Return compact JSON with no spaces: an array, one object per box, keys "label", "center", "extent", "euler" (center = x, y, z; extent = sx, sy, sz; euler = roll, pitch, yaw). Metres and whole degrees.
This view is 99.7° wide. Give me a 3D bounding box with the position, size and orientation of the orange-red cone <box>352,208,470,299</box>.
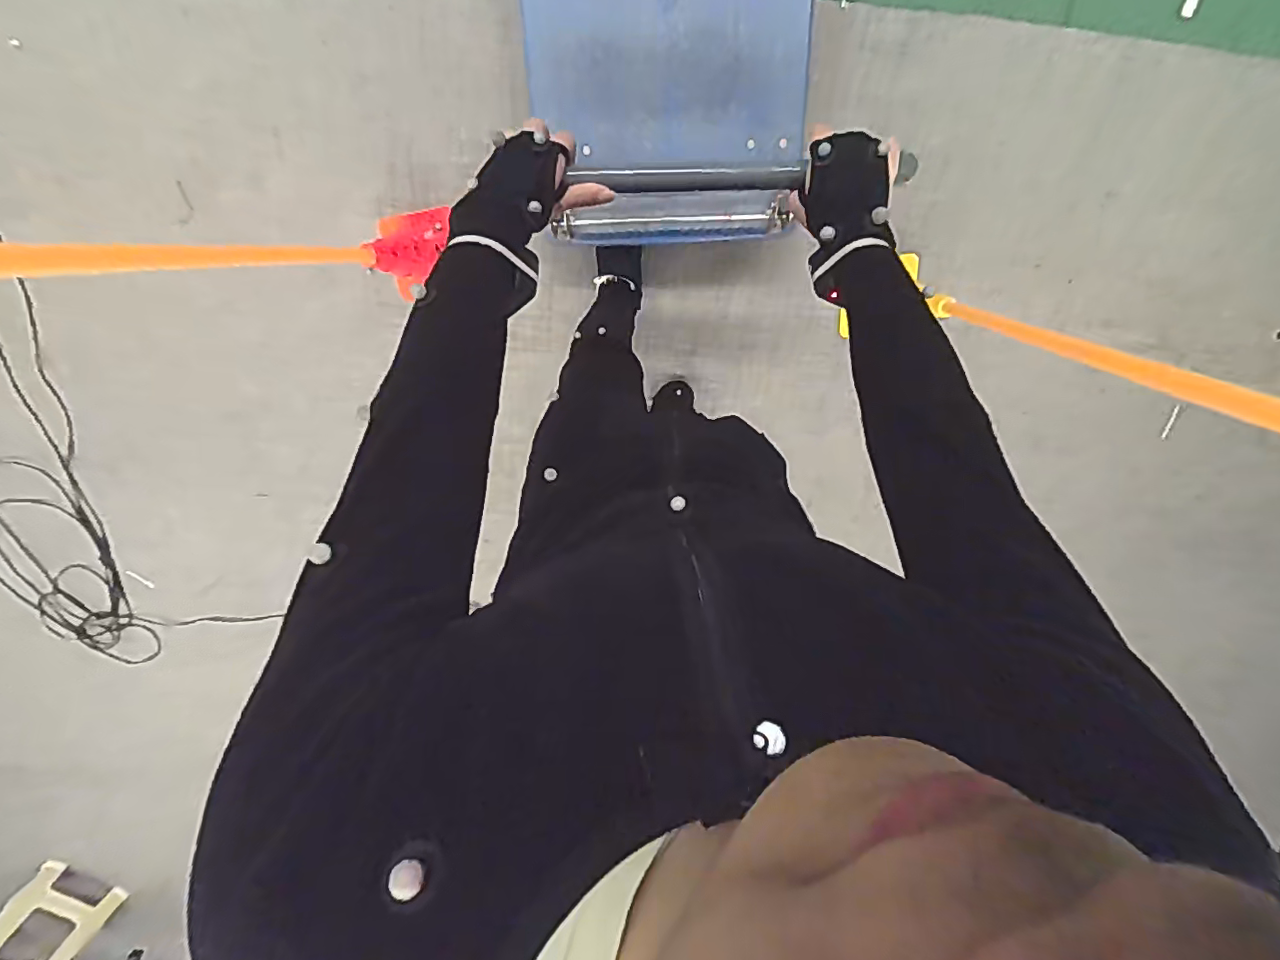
[{"label":"orange-red cone","center":[-0.546,-0.507,1.215],"extent":[0.199,0.360,0.198],"euler":[-9,112,4]}]
